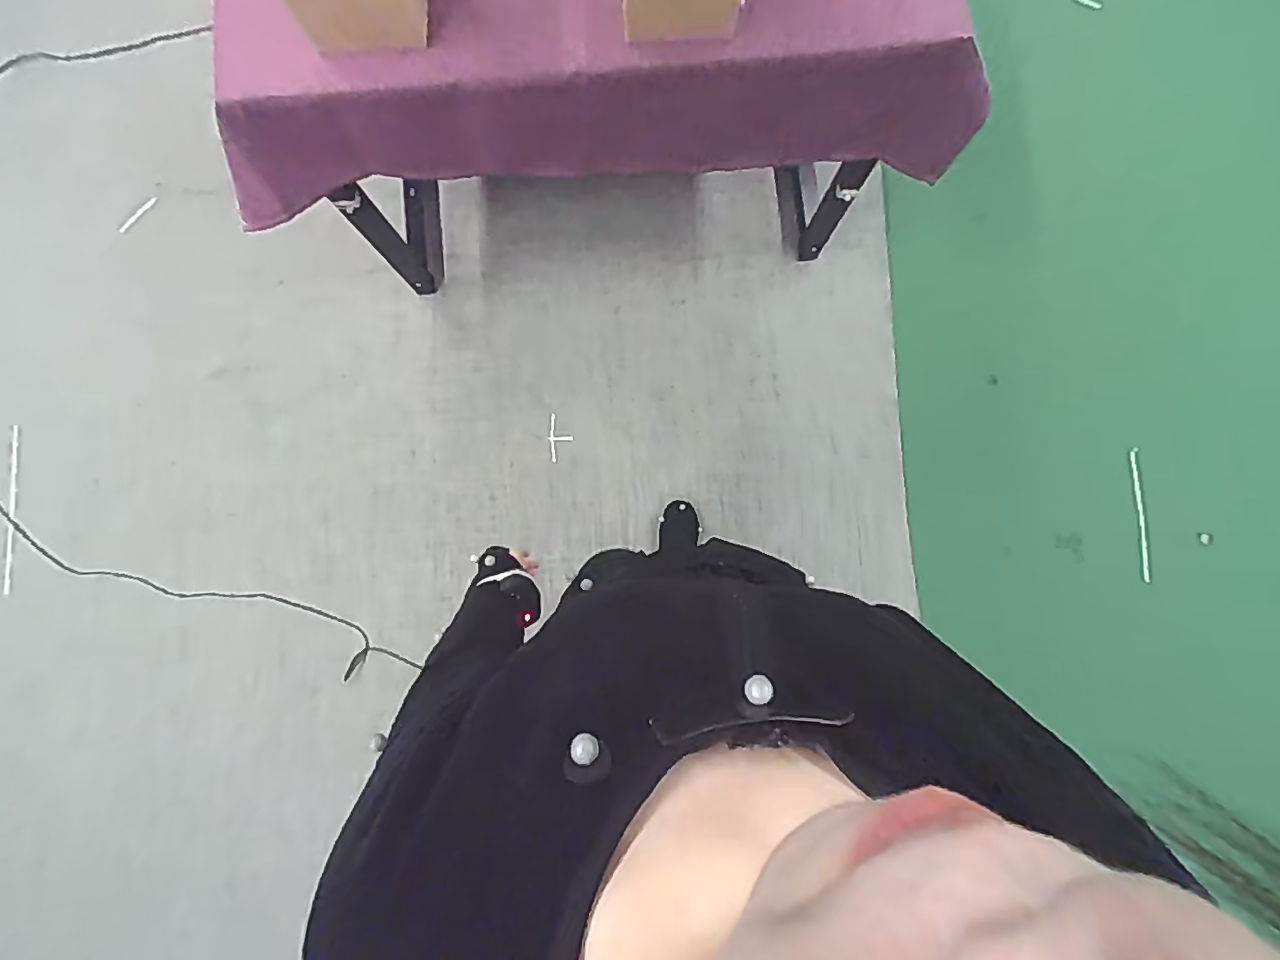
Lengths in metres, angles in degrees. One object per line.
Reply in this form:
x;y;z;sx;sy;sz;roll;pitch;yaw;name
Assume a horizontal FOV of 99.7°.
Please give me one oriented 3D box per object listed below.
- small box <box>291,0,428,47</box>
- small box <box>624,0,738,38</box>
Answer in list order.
-0.425;-0.769;0.780;0.179;0.176;0.168;-2;85;0;small box
0.061;-0.788;0.781;0.179;0.176;0.168;-2;84;1;small box
